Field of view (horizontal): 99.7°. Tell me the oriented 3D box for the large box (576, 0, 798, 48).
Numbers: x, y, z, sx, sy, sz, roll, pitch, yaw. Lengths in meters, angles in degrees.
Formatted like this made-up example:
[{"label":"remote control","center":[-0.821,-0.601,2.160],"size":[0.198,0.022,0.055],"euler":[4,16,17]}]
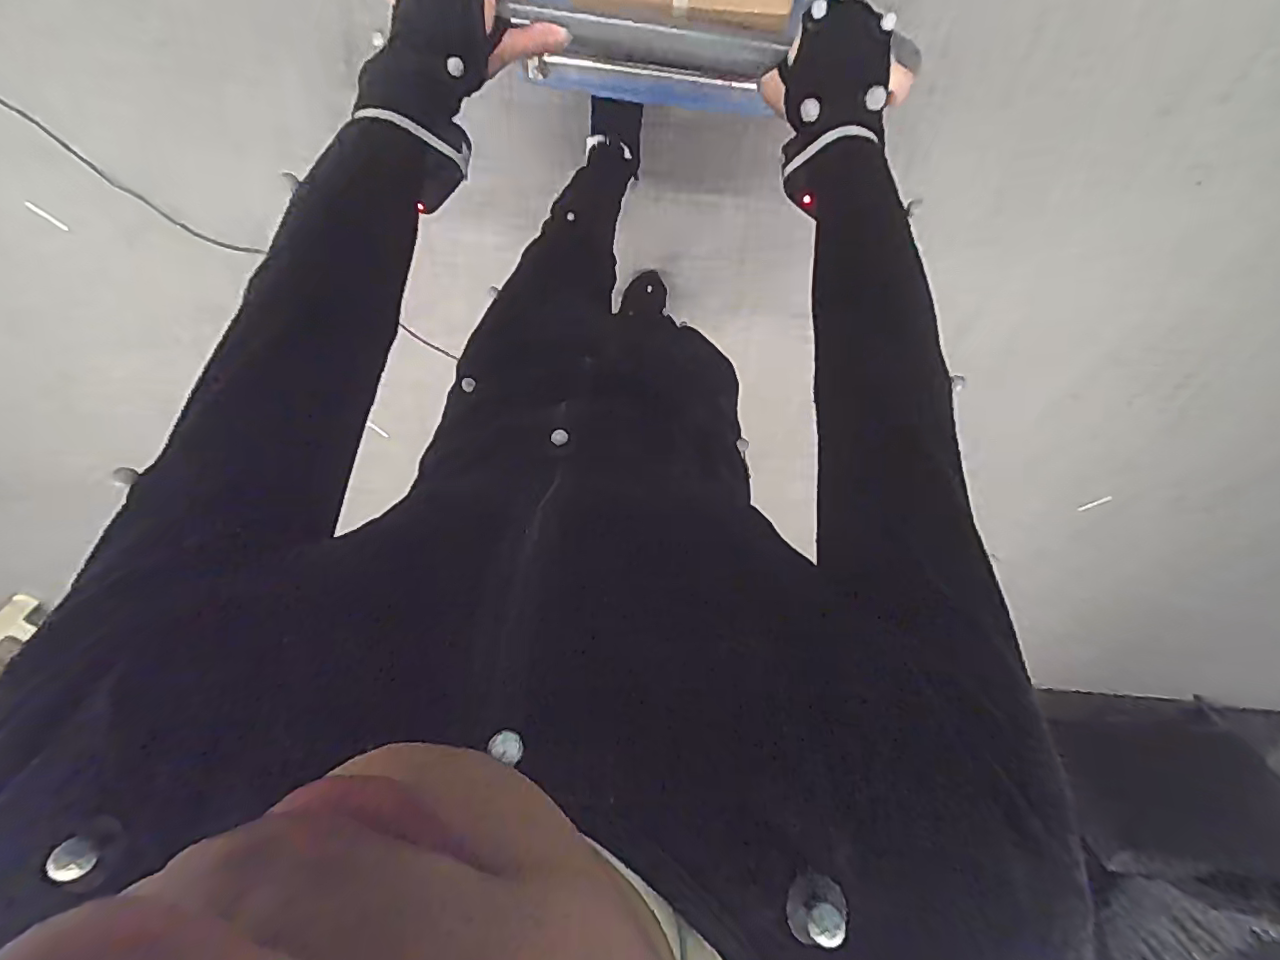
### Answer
[{"label":"large box","center":[0.086,-0.892,0.769],"size":[0.320,0.320,0.408],"euler":[6,125,-2]}]
